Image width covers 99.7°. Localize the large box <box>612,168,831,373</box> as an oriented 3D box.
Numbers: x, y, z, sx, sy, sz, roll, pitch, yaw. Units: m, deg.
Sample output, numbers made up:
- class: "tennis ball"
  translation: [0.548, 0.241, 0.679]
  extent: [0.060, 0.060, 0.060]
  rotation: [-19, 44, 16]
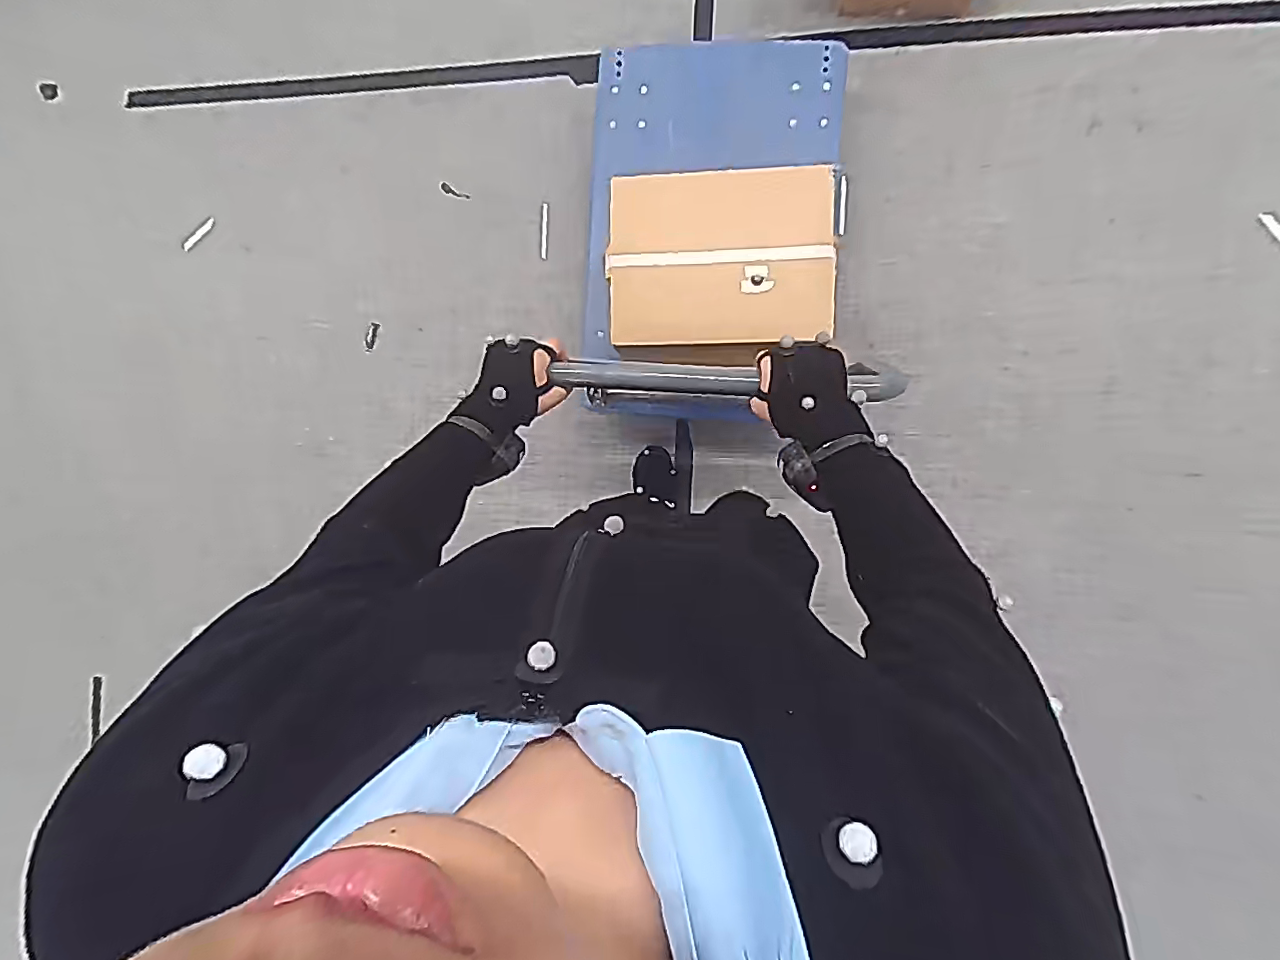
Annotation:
- class: "large box"
  translation: [0.159, -0.412, 1.145]
  extent: [0.408, 0.320, 0.320]
  rotation: [0, 92, 5]
